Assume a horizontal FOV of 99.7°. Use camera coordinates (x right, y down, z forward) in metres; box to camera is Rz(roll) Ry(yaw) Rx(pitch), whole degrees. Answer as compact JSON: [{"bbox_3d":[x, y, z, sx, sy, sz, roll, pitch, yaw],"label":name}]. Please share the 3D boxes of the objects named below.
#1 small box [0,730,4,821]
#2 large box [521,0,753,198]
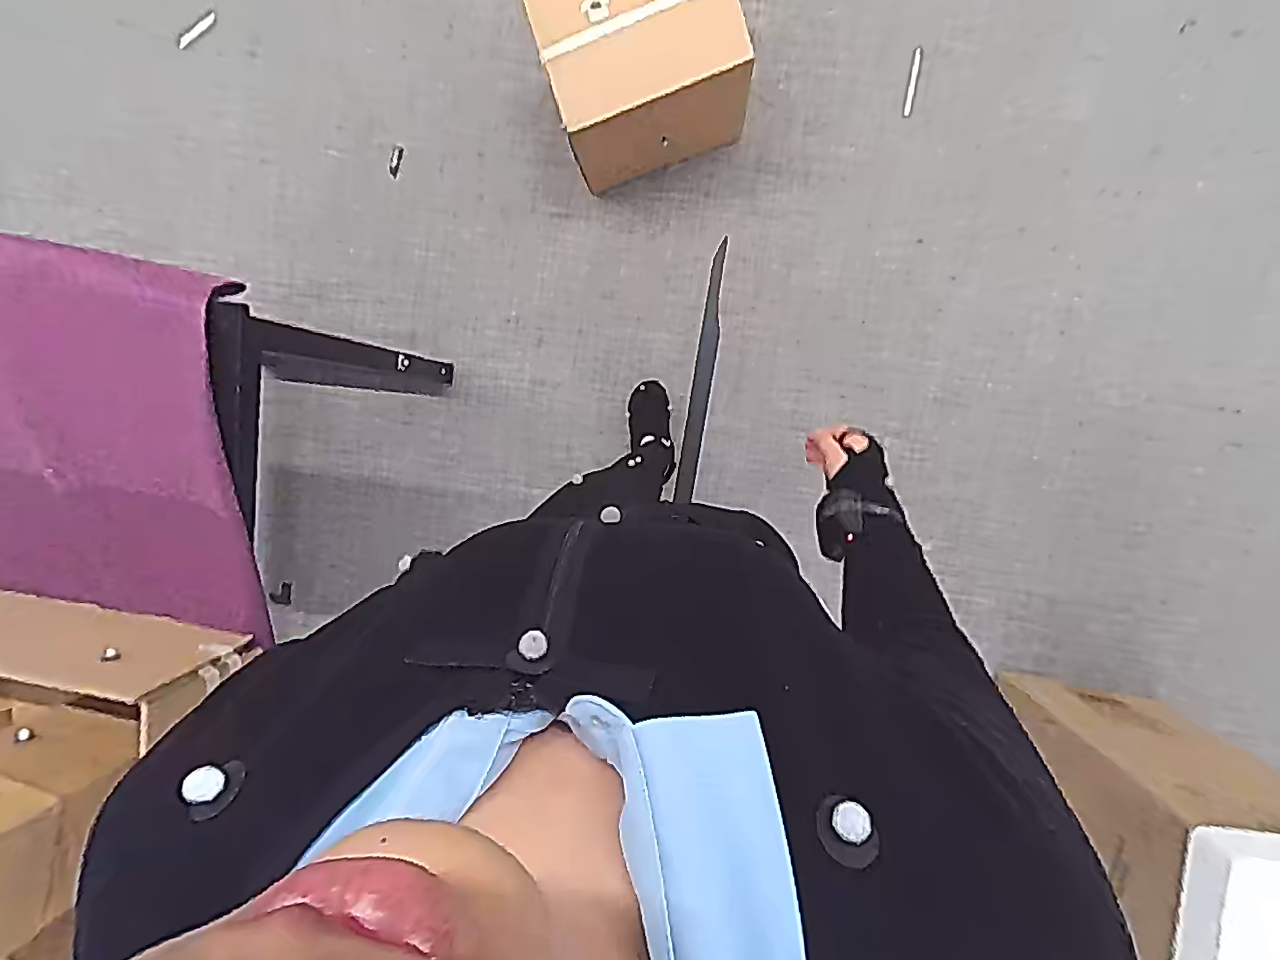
[{"bbox_3d":[-1.029,0.426,0.728,0.168,0.176,0.179,5,95,4],"label":"small box"},{"bbox_3d":[0.007,-0.919,1.226,0.408,0.320,0.320,-18,93,8],"label":"large box"}]
